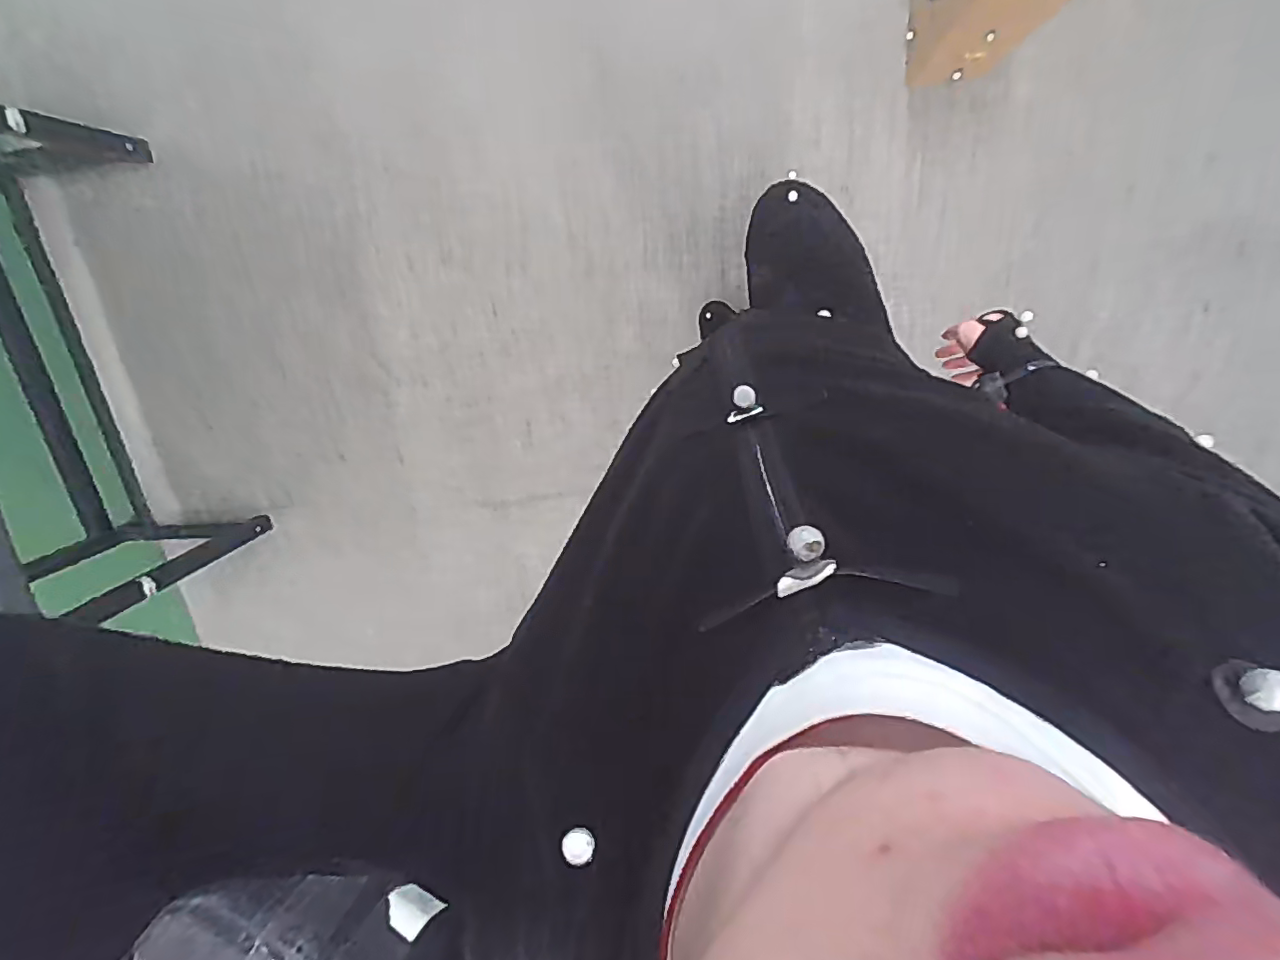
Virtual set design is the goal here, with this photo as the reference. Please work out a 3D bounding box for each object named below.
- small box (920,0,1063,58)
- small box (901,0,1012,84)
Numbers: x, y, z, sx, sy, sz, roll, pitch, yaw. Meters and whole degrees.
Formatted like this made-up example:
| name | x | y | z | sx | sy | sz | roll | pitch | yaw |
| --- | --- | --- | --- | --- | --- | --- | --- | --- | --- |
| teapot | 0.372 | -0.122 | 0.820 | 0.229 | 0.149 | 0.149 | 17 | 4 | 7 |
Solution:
| name | x | y | z | sx | sy | sz | roll | pitch | yaw |
| --- | --- | --- | --- | --- | --- | --- | --- | --- | --- |
| small box | 0.634 | -0.900 | 0.975 | 0.179 | 0.176 | 0.168 | -2 | 108 | 9 |
| small box | 0.661 | -0.955 | 1.128 | 0.168 | 0.176 | 0.179 | -1 | 109 | 7 |
